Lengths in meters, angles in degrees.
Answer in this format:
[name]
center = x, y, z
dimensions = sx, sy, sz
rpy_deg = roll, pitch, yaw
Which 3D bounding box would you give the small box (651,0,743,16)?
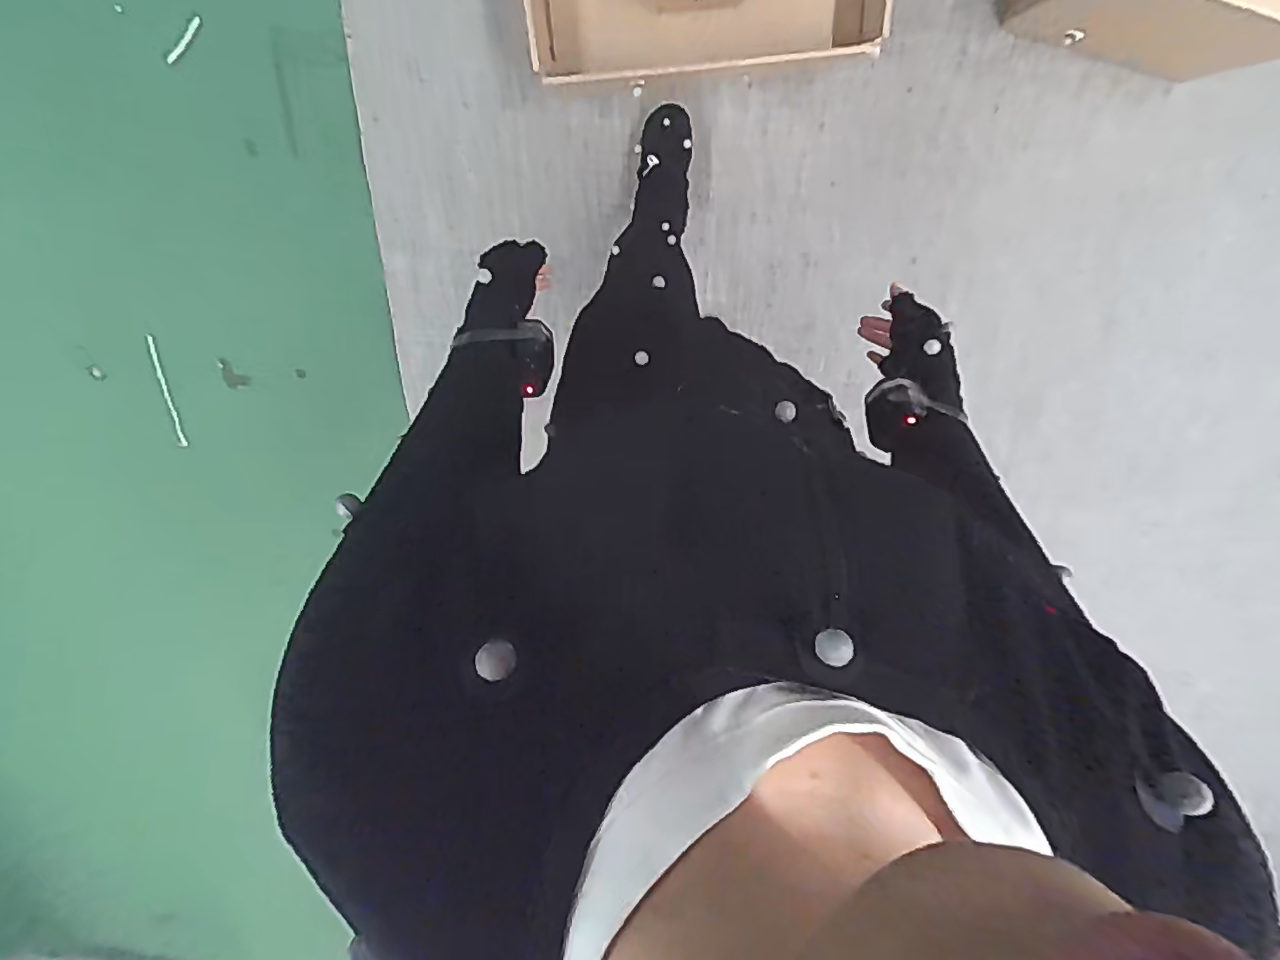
[small box]
center = 0.102, -0.923, 0.922
dimensions = 0.179, 0.176, 0.168
rpy_deg = -2, 117, 2
